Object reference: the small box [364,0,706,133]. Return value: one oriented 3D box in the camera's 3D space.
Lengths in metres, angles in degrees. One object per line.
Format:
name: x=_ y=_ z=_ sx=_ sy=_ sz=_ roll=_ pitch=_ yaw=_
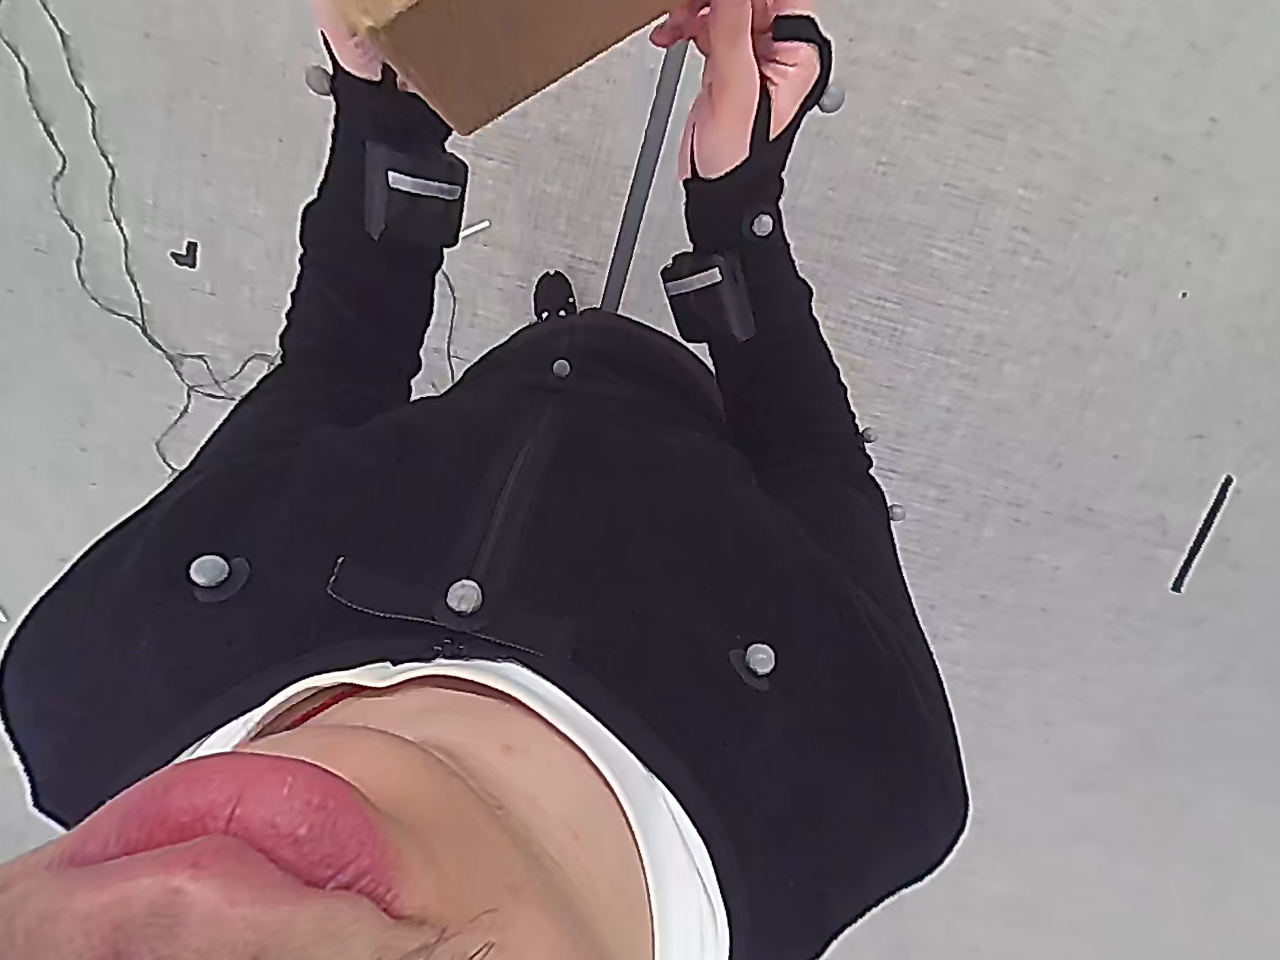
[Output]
small box: x=-0.040 y=-0.252 z=0.179 sx=0.179 sy=0.176 sz=0.168 roll=-29 pitch=115 yaw=5
